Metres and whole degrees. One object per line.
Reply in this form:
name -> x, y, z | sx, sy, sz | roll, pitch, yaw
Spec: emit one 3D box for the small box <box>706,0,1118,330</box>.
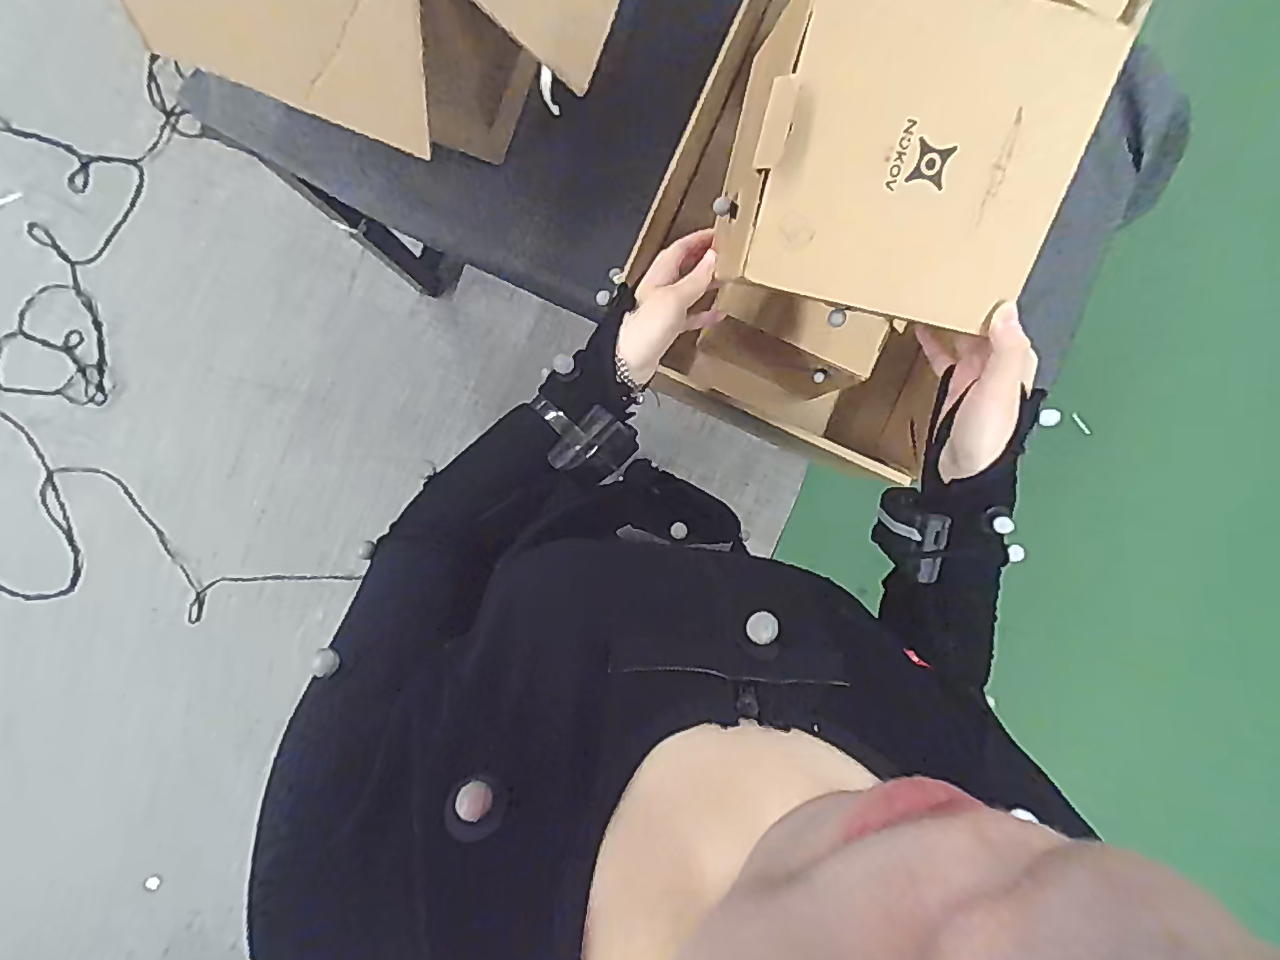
small box -> 0.155, -0.217, 0.385 | 0.179, 0.176, 0.168 | 10, 114, -7
